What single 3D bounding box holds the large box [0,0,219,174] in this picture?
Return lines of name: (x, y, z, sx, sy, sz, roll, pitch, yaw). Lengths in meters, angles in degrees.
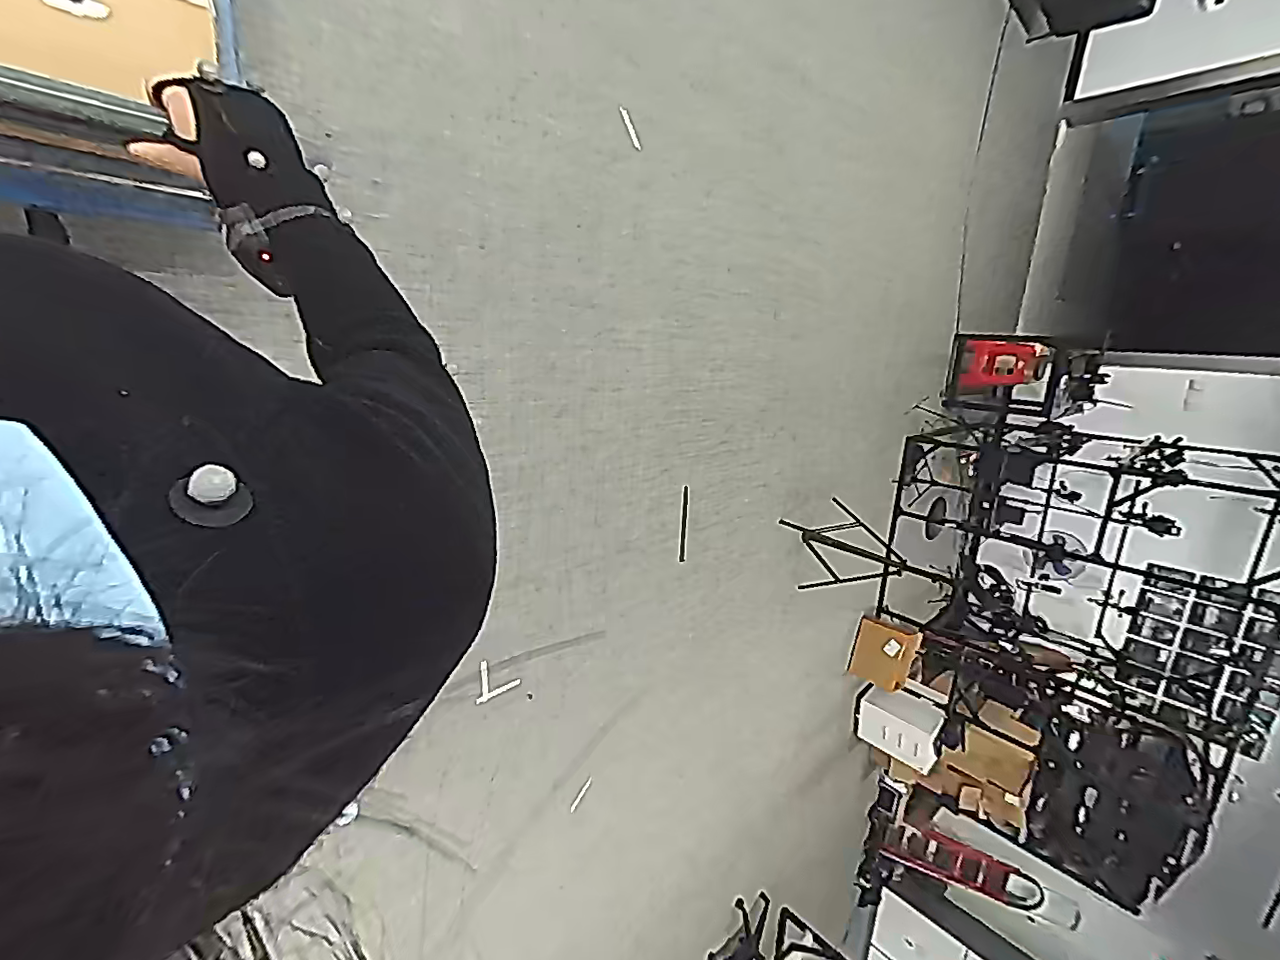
large box: (-0.833, -0.632, 0.689, 0.408, 0.320, 0.320, -10, 110, -44)
